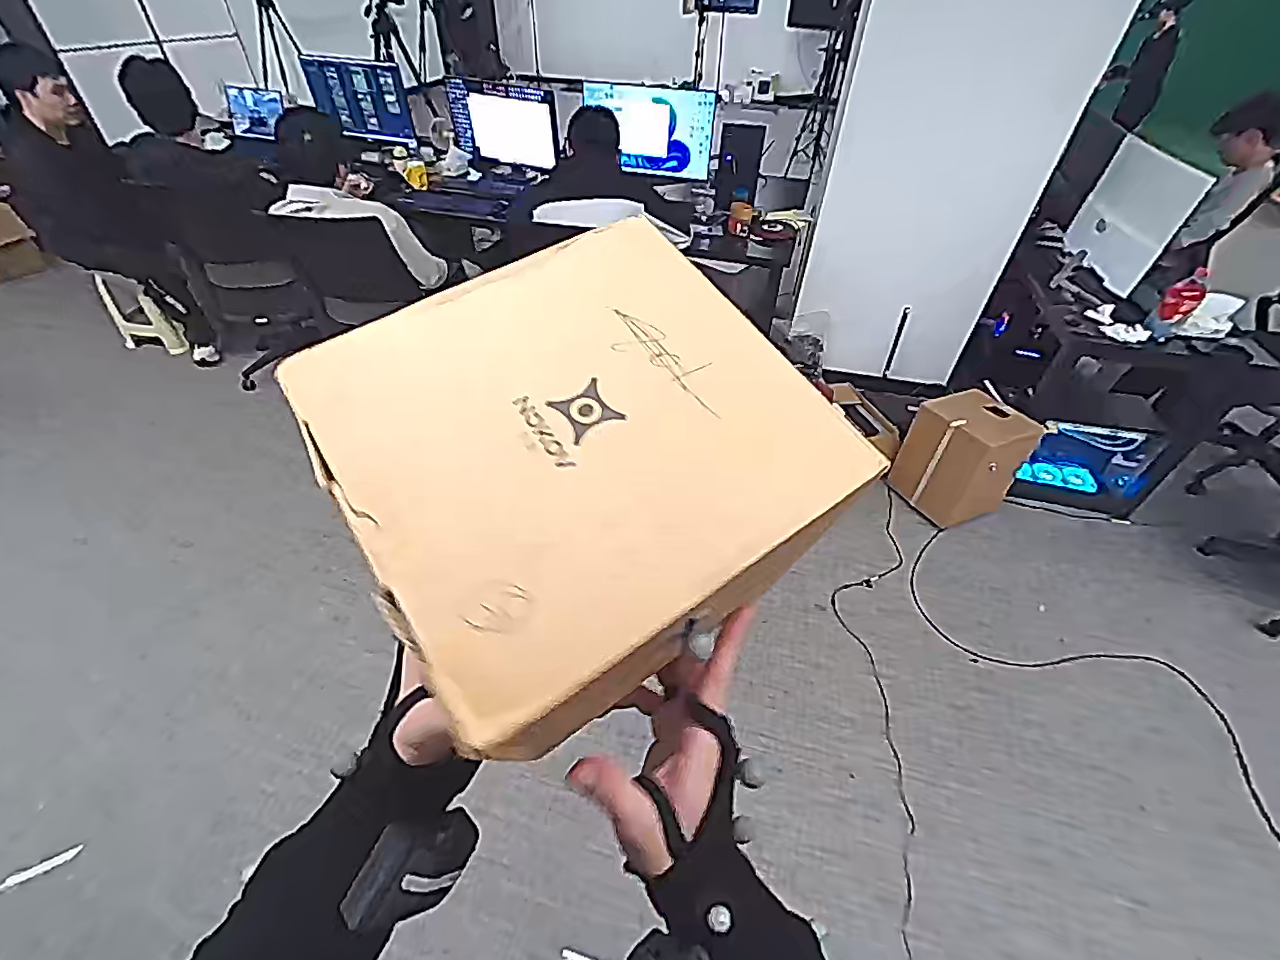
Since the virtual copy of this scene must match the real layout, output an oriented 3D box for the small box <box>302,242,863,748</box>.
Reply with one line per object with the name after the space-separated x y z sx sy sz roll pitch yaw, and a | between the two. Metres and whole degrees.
-0.028 0.018 0.291 0.179 0.176 0.168 -33 72 -19 | small box
